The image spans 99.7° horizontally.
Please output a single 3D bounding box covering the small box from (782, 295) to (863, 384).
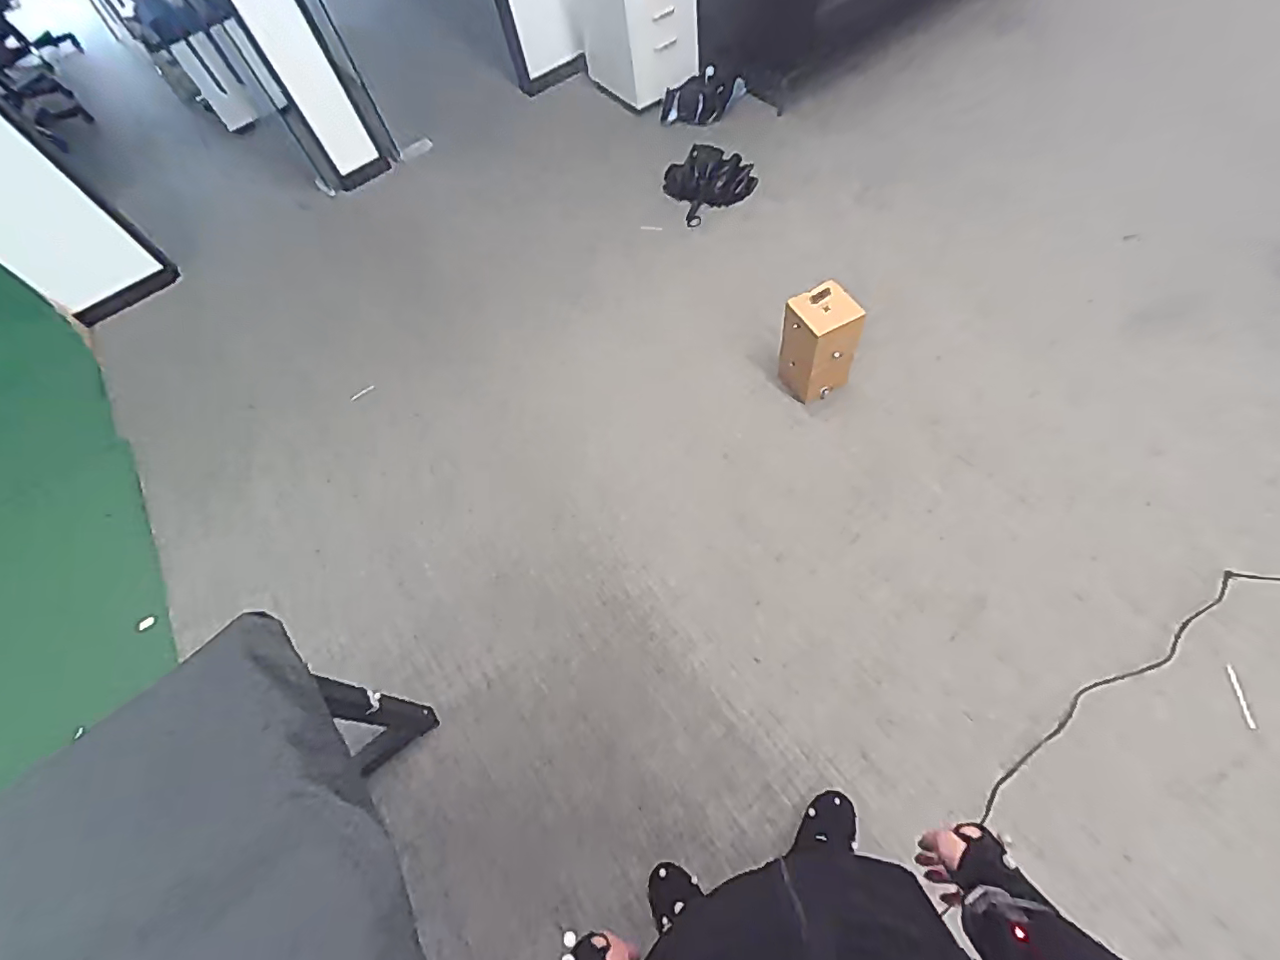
[{"bbox_3d":[0.563,-0.438,1.699,0.168,0.176,0.179,-25,60,-5],"label":"small box"}]

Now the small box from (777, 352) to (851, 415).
[{"bbox_3d":[0.583,-0.355,1.840,0.168,0.176,0.179,-26,60,-6],"label":"small box"}]
